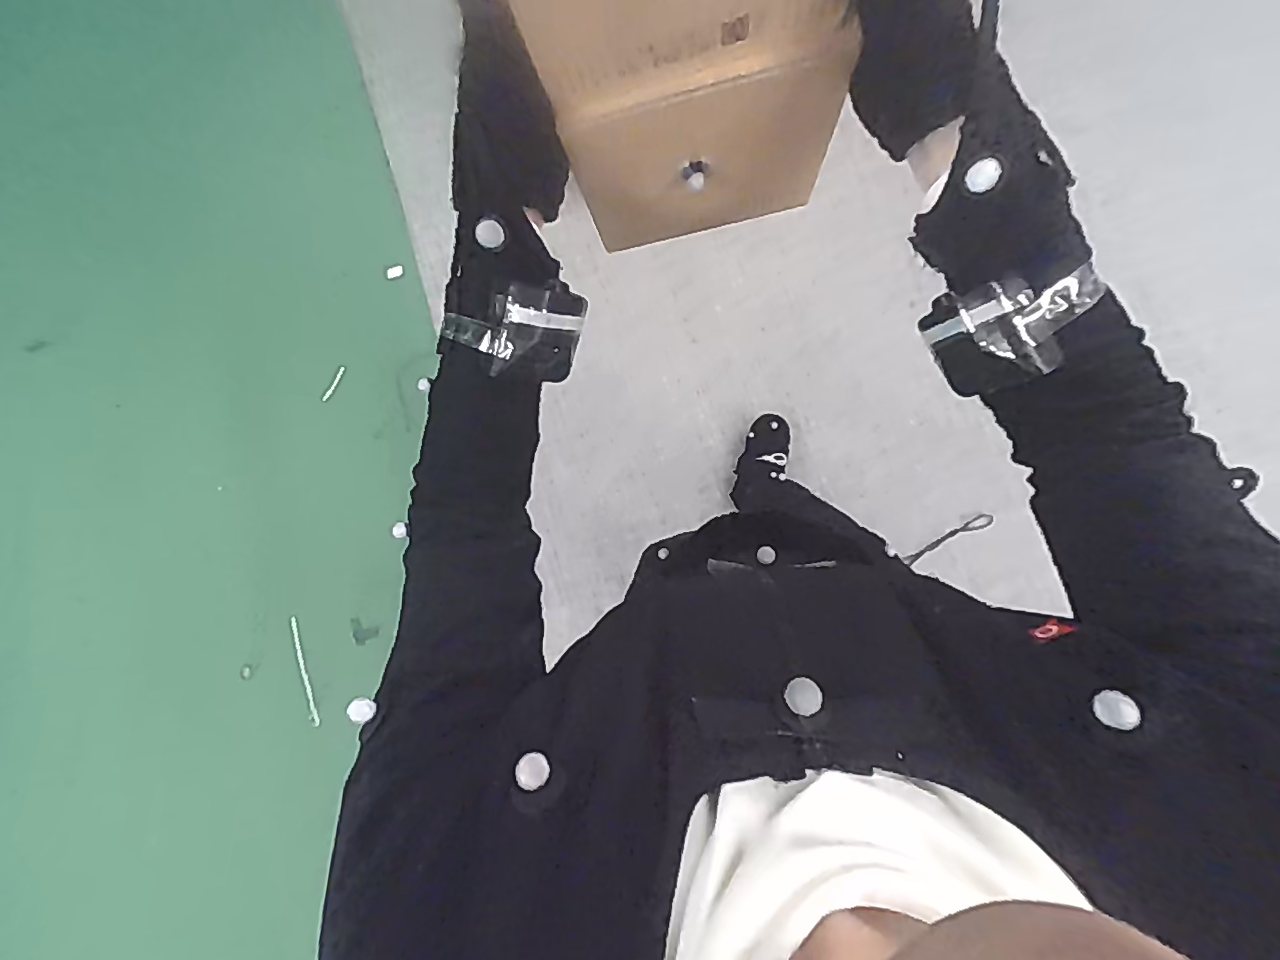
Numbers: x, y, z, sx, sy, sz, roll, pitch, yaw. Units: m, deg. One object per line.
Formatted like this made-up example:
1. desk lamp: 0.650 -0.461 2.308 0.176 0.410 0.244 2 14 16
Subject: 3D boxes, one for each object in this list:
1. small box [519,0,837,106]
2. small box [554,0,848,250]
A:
1. small box: 0.005 -0.319 0.251 0.168 0.176 0.179 -14 87 8
2. small box: 0.035 -0.302 0.408 0.179 0.176 0.168 -10 87 8
